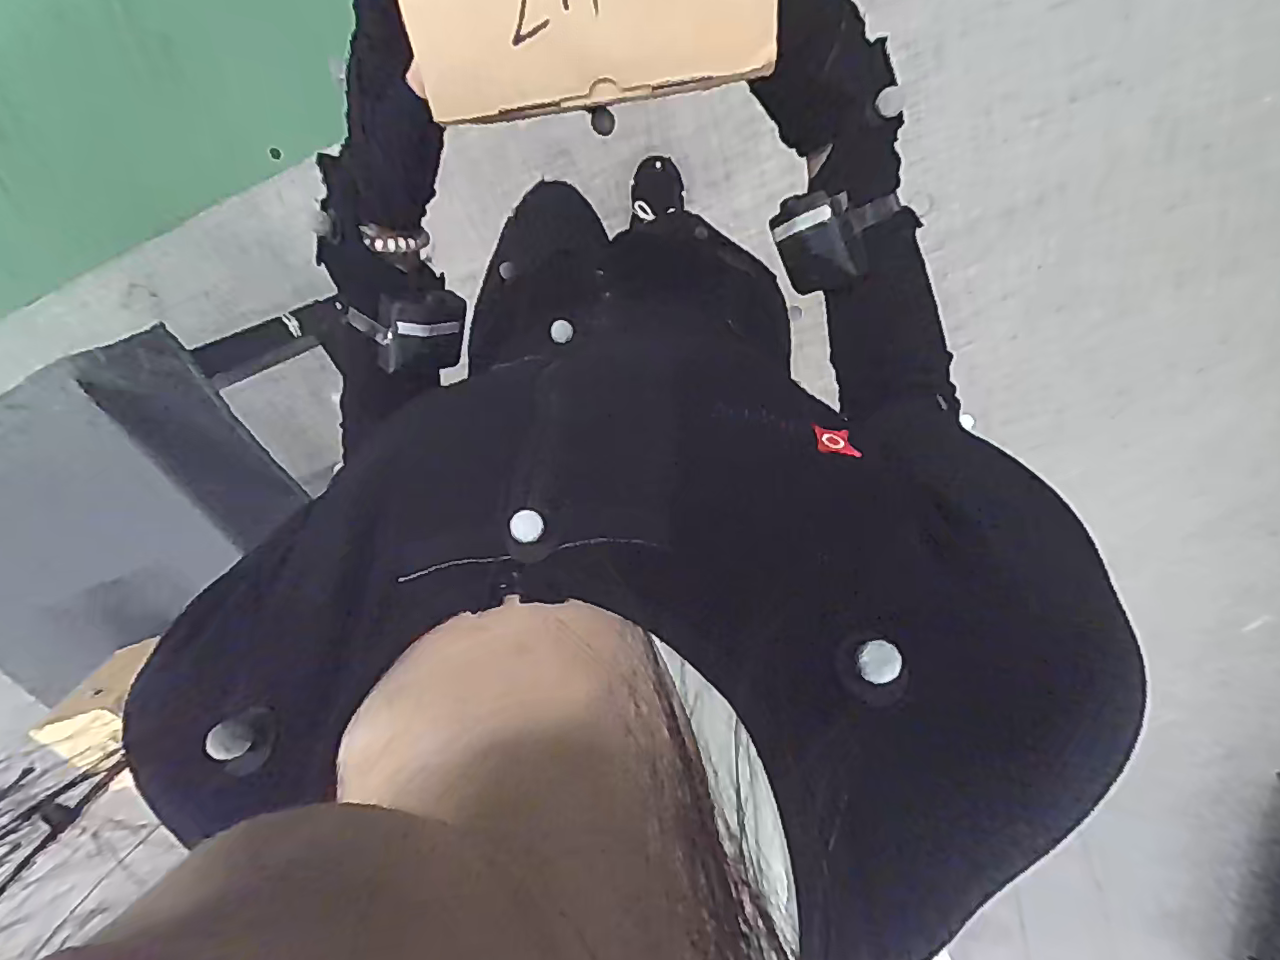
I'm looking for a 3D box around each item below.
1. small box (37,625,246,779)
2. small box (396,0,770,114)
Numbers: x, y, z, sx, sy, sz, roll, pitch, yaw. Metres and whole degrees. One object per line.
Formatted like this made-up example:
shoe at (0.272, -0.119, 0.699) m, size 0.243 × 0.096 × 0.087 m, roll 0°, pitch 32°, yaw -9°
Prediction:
small box at (-0.832, 0.375, 0.930) m, size 0.179 × 0.176 × 0.168 m, roll -18°, pitch 118°, yaw 13°
small box at (-0.038, -0.299, 0.271) m, size 0.168 × 0.176 × 0.179 m, roll -9°, pitch 126°, yaw 0°
